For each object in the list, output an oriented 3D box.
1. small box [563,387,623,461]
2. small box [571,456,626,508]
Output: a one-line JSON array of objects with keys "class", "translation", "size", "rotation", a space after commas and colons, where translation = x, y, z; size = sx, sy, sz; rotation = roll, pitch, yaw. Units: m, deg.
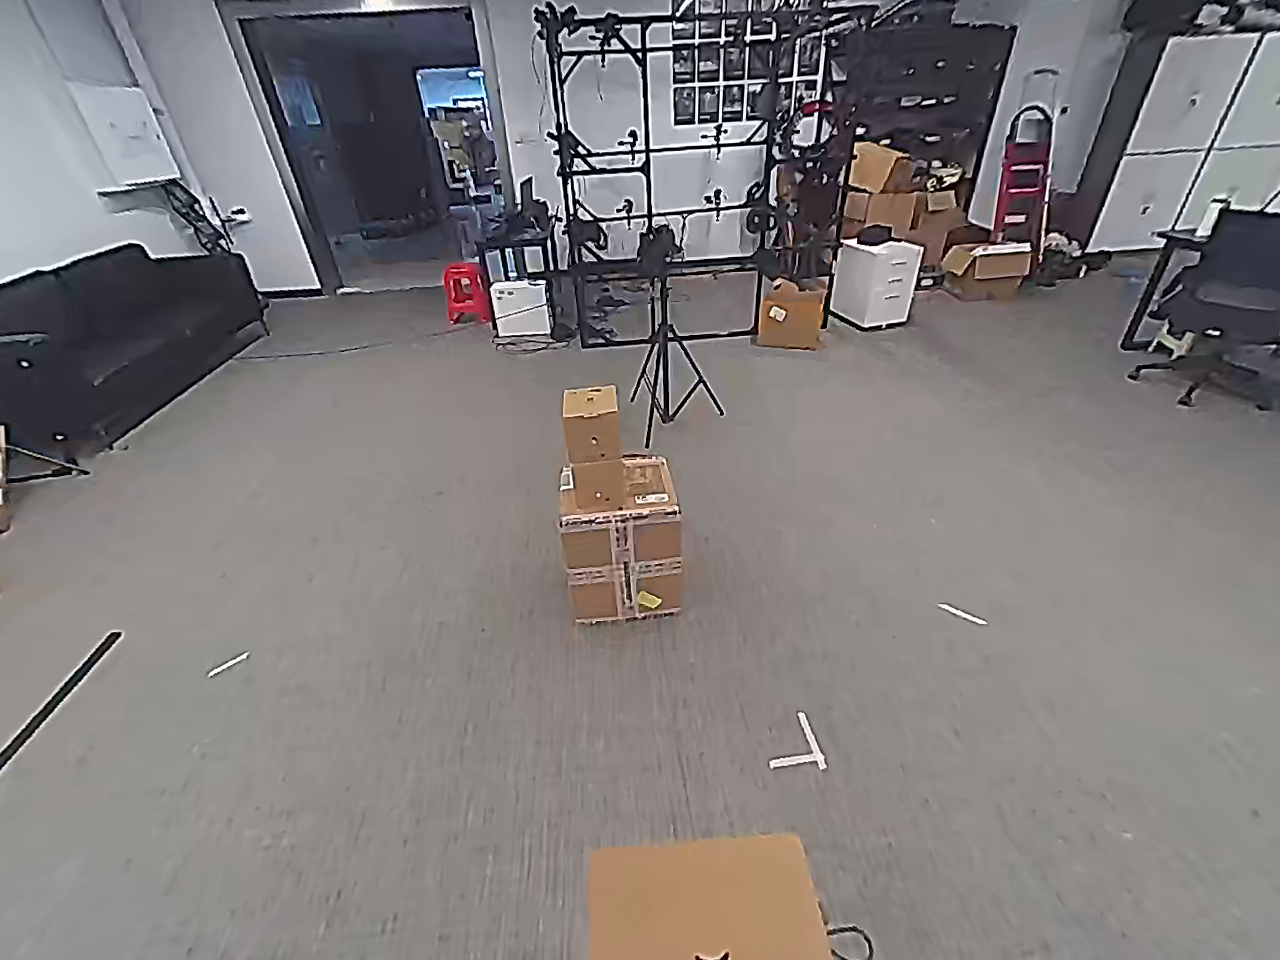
[{"class": "small box", "translation": [-0.146, -0.171, 1.693], "size": [0.168, 0.176, 0.179], "rotation": [-6, 37, -2]}, {"class": "small box", "translation": [-0.138, -0.031, 1.780], "size": [0.168, 0.176, 0.179], "rotation": [-7, 38, -4]}]
